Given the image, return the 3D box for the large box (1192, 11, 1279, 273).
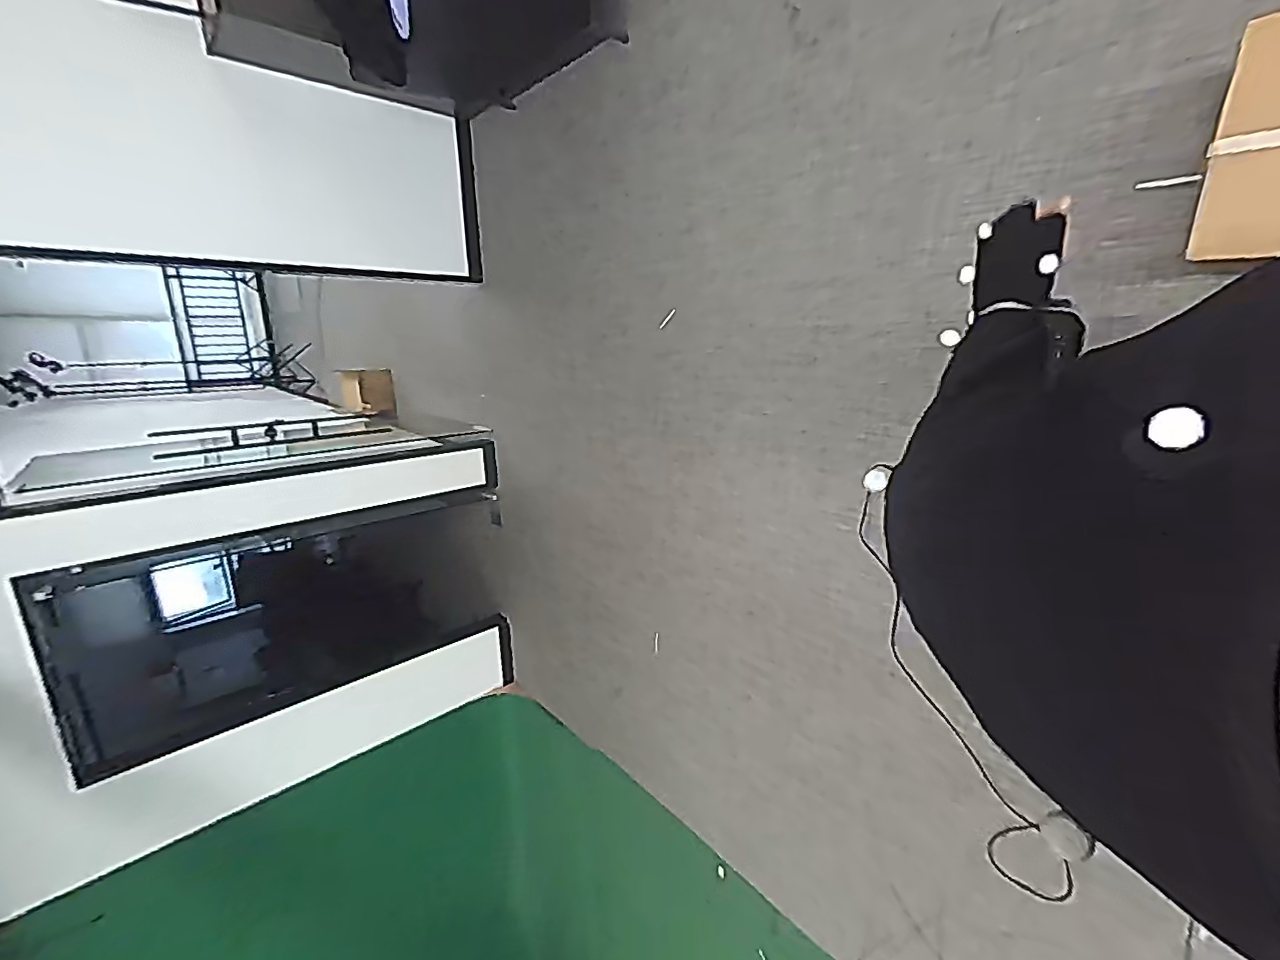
[{"bbox_3d":[1.086,-0.476,0.746,0.408,0.320,0.320,17,113,45],"label":"large box"}]
